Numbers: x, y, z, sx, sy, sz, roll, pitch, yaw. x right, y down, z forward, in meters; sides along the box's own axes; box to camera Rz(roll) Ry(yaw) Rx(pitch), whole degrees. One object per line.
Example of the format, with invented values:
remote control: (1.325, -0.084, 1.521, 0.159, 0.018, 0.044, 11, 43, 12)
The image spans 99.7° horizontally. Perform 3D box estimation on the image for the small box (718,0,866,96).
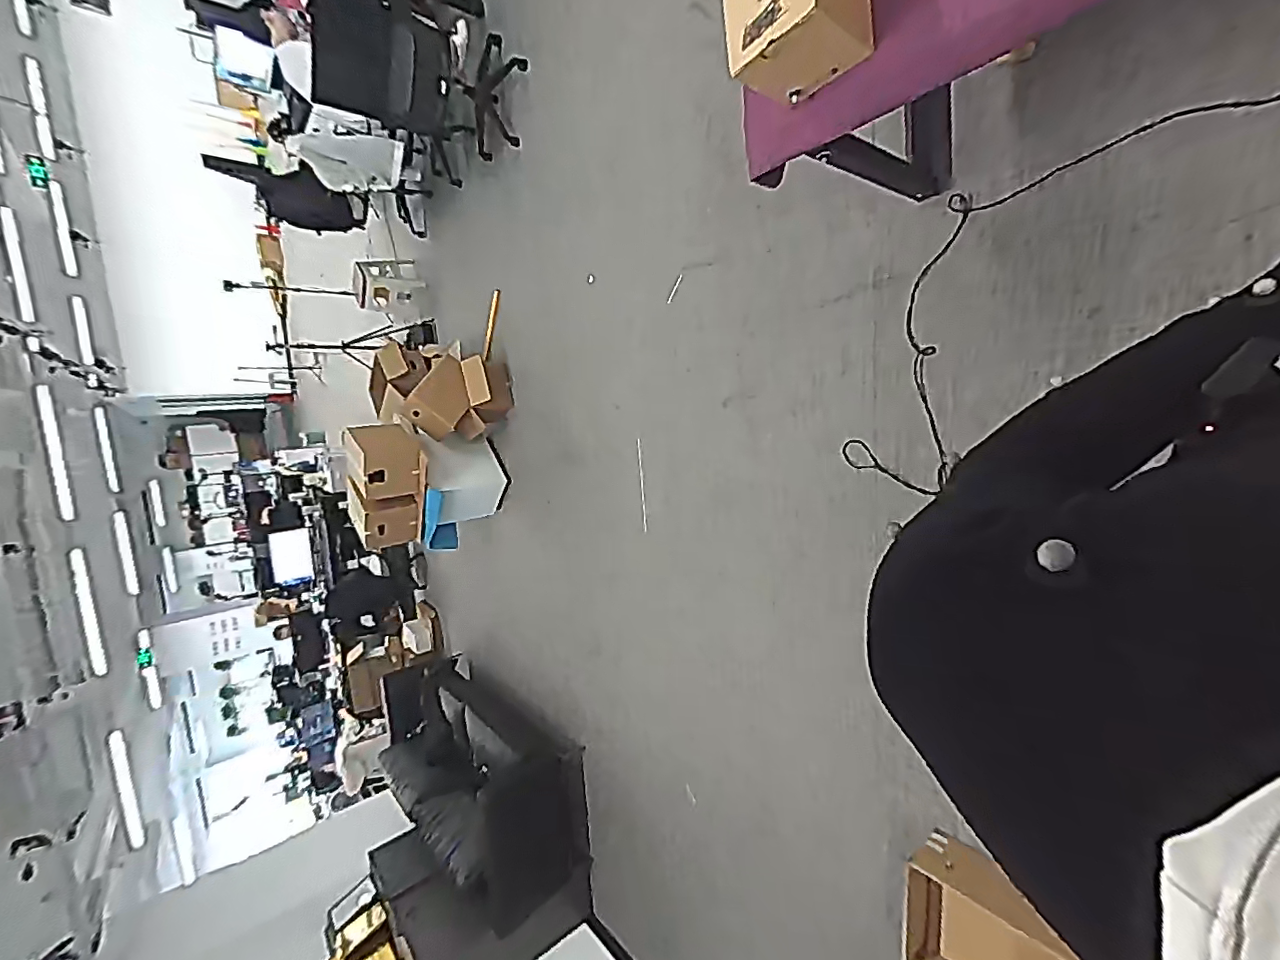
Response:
small box: (0.246, -0.762, 0.873, 0.168, 0.176, 0.179, -3, 94, 50)
